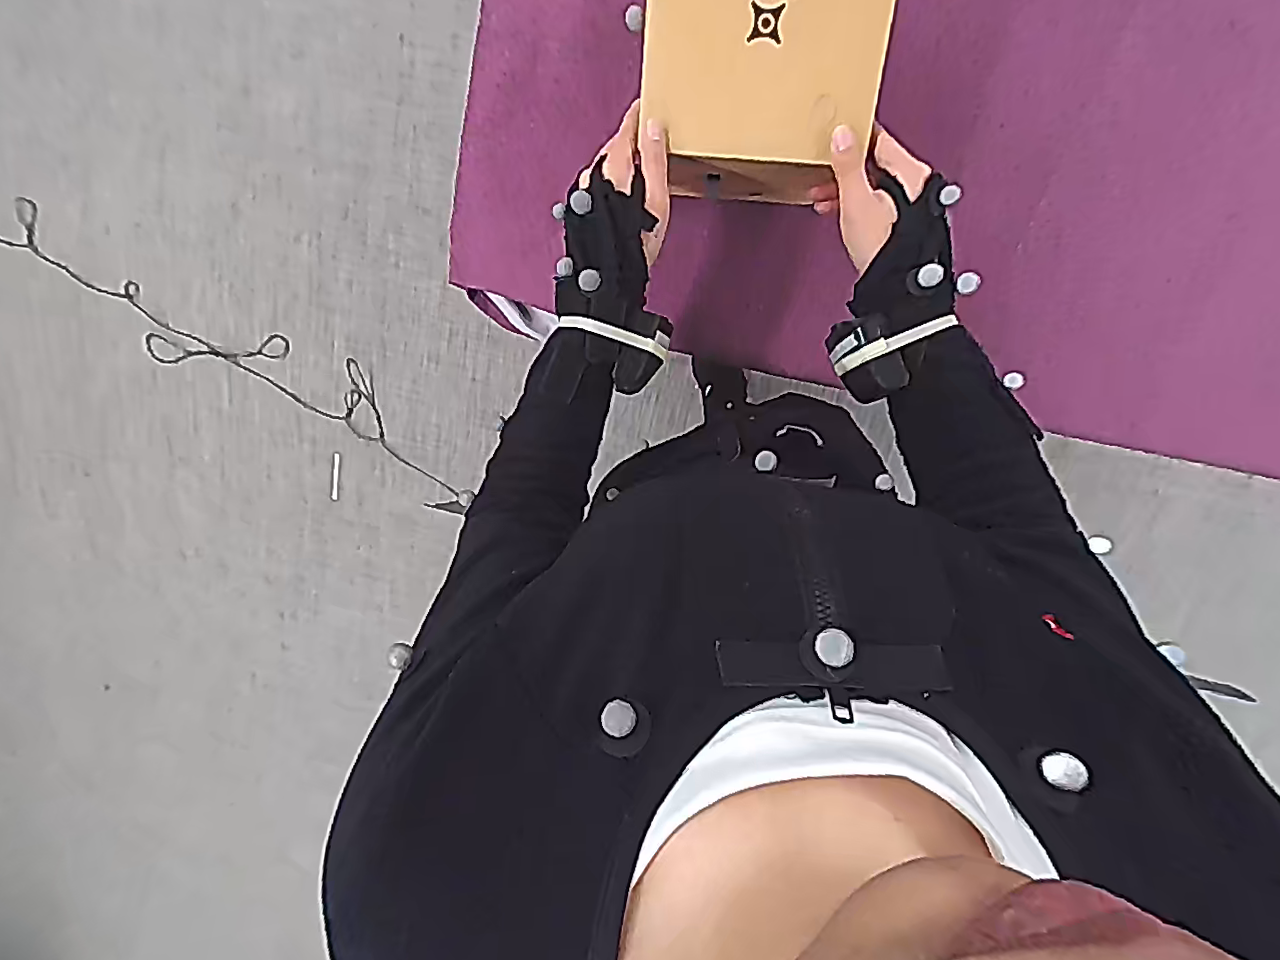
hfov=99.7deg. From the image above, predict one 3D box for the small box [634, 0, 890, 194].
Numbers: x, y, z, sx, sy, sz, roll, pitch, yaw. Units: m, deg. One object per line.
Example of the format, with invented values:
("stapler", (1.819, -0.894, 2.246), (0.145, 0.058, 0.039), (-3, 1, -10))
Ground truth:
("small box", (0.090, -0.342, 0.434), (0.168, 0.176, 0.179), (5, 108, 3))
